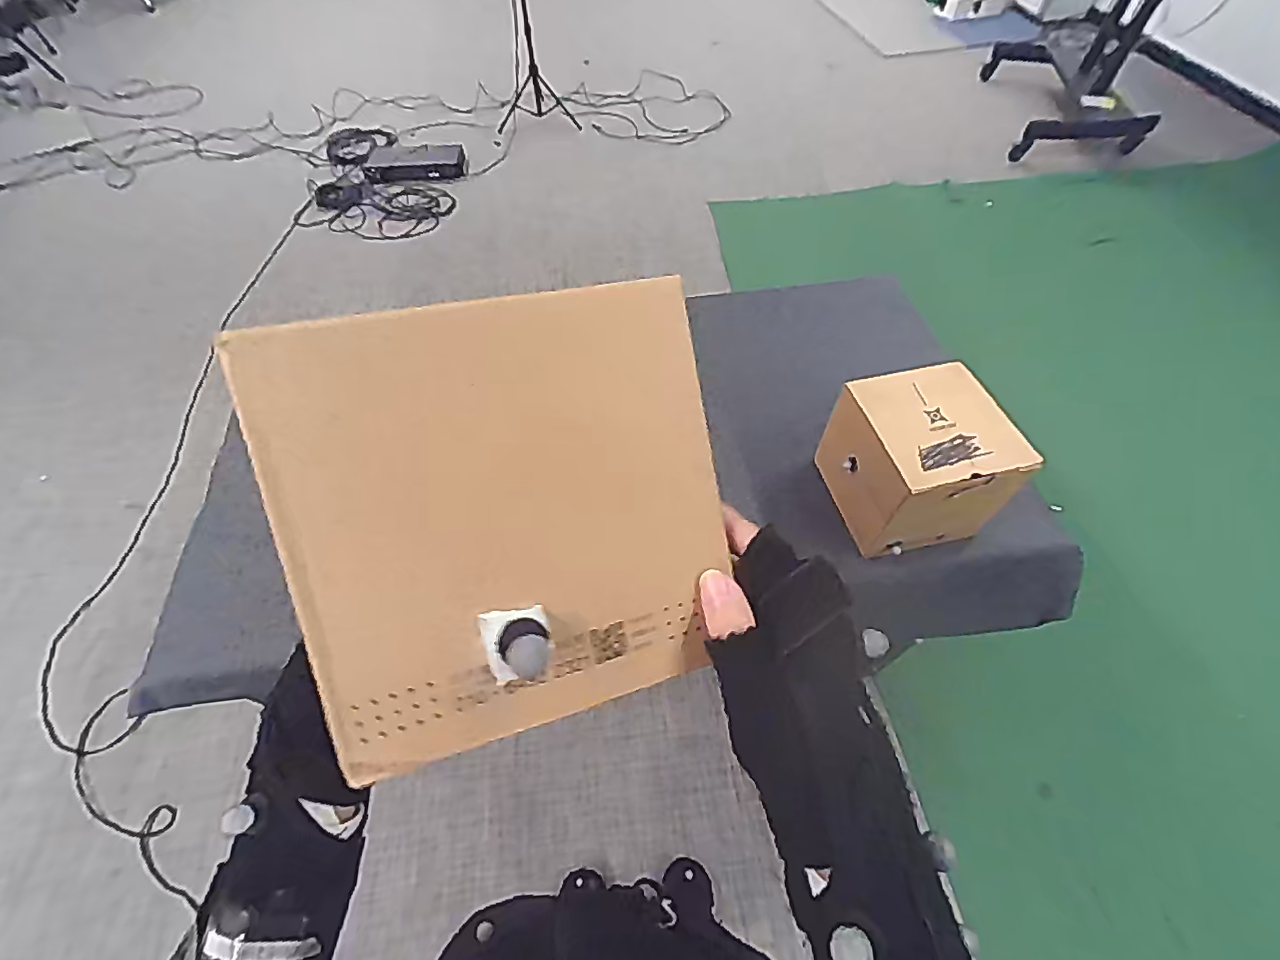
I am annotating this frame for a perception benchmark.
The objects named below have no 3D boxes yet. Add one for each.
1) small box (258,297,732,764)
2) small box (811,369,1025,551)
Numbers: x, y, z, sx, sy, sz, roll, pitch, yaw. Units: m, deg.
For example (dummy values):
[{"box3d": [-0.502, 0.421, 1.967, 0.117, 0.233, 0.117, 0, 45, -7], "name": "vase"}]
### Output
[{"box3d": [-0.070, 0.012, 0.298, 0.168, 0.179, 0.176, -15, 101, -20], "name": "small box"}, {"box3d": [0.355, -0.018, 0.731, 0.168, 0.176, 0.179, -11, 55, -6], "name": "small box"}]
